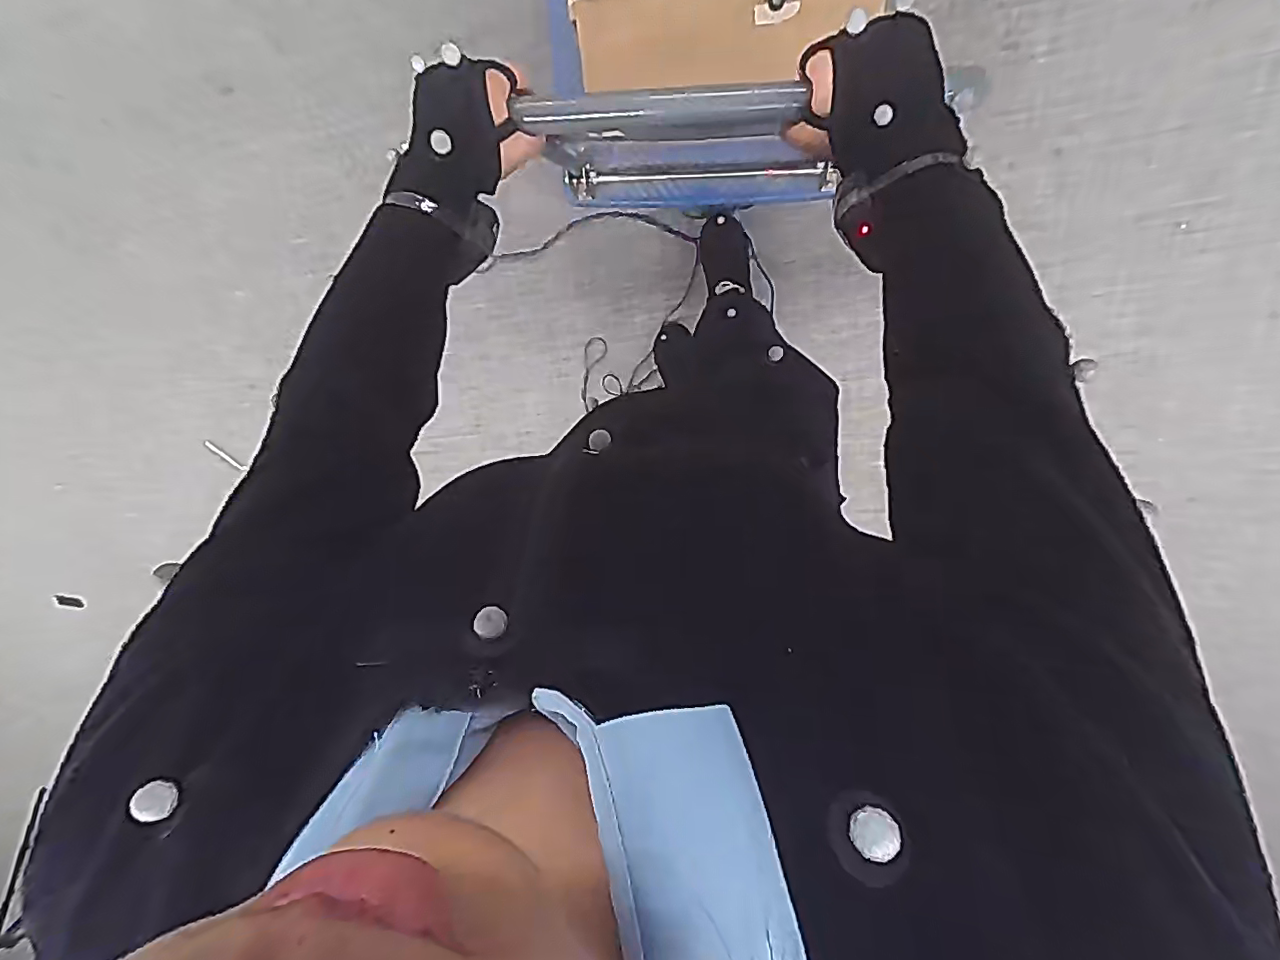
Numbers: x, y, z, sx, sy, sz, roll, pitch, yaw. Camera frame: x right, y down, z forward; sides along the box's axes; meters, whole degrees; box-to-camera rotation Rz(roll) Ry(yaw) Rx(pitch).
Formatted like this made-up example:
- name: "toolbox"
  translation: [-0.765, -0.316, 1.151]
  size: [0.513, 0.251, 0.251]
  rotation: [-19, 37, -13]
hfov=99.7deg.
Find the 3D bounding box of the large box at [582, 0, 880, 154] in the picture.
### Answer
- name: "large box"
  translation: [0.129, -0.731, 0.848]
  size: [0.408, 0.320, 0.320]
  rotation: [-2, 115, 8]
